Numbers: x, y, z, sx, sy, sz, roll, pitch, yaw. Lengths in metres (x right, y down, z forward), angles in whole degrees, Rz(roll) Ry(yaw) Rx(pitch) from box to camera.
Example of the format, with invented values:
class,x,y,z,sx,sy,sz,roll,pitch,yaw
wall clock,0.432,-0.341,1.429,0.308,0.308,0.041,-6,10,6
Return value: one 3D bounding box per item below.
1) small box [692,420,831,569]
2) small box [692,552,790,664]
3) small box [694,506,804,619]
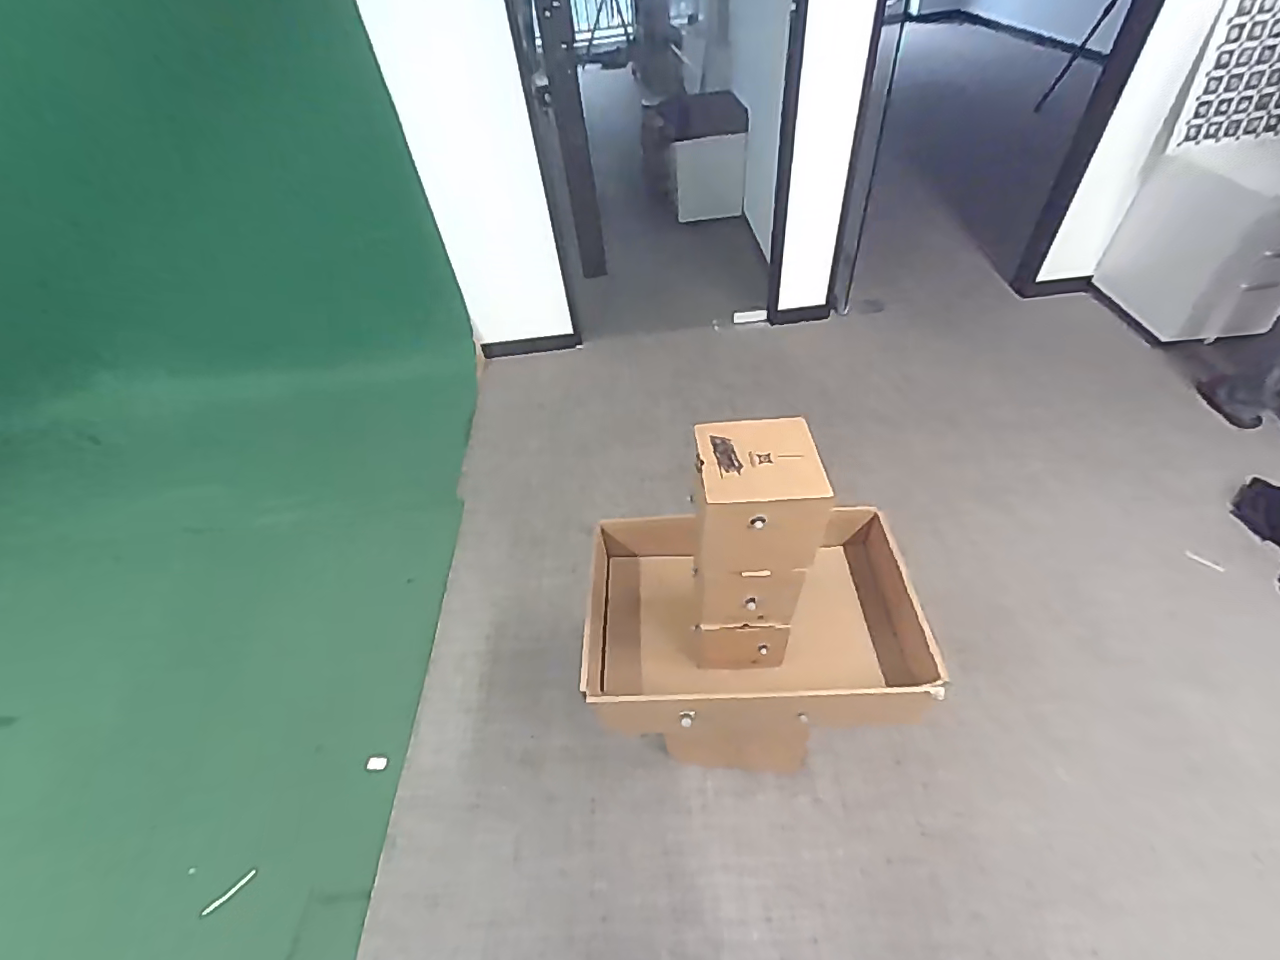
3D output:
class,x,y,z,sx,sy,sz,roll,pitch,yaw
small box,0.176,0.027,0.844,0.179,0.176,0.168,-3,47,0
small box,0.193,0.256,1.079,0.168,0.176,0.179,-3,45,2
small box,0.184,0.138,0.966,0.168,0.176,0.179,-2,48,2
